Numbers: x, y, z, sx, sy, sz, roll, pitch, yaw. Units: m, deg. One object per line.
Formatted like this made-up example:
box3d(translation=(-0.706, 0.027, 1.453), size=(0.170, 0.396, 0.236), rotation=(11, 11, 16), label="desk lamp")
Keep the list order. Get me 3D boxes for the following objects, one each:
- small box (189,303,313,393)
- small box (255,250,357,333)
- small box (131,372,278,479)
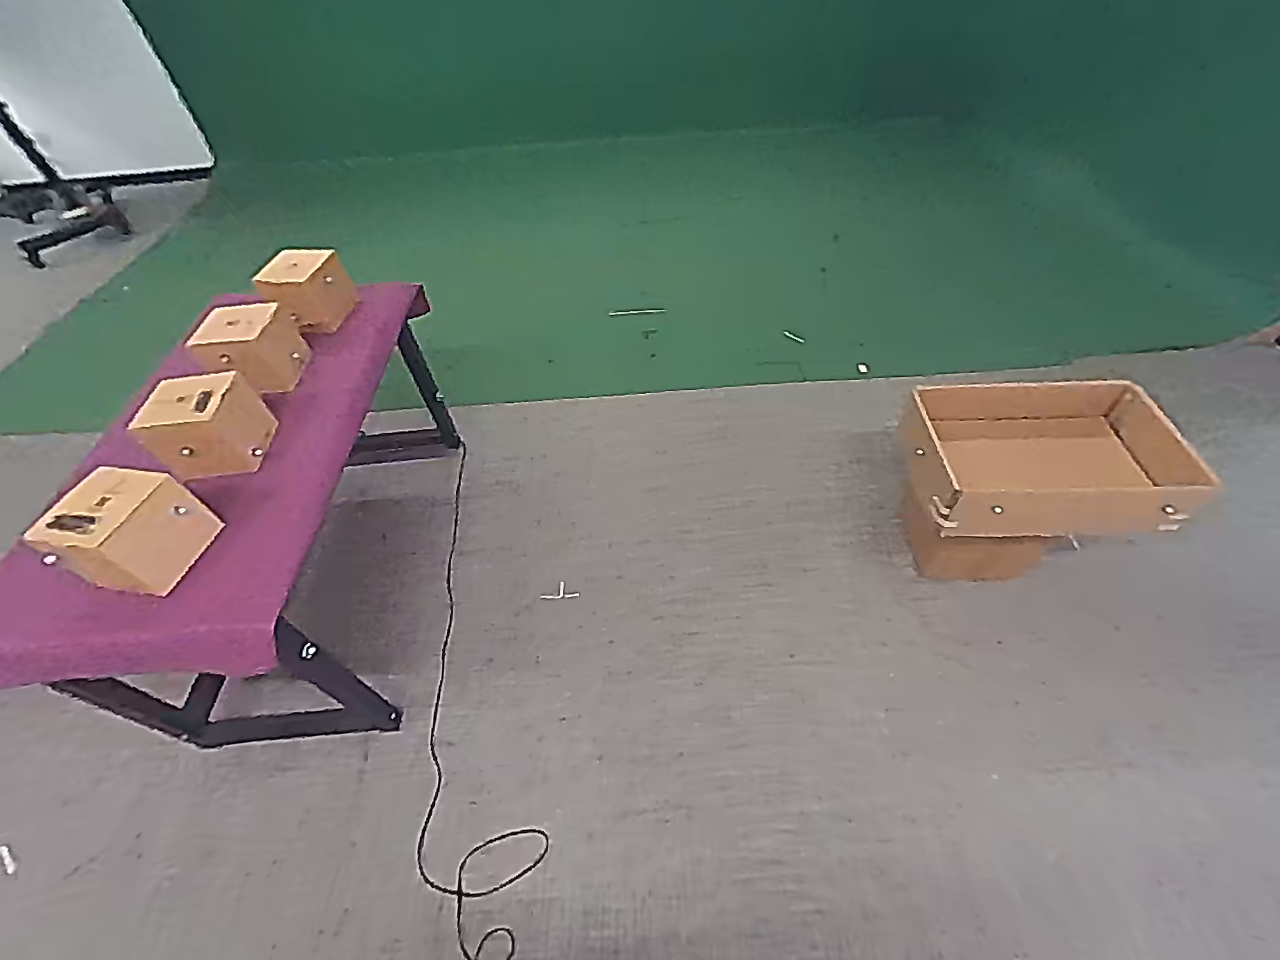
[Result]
box3d(translation=(-1.011, -0.340, 1.422), size=(0.179, 0.176, 0.168), rotation=(-5, 51, 1), label="small box")
box3d(translation=(-0.975, -0.560, 1.602), size=(0.168, 0.176, 0.179), rotation=(3, 52, 8), label="small box")
box3d(translation=(-0.979, -0.122, 1.238), size=(0.179, 0.176, 0.168), rotation=(-8, 50, 0), label="small box")
